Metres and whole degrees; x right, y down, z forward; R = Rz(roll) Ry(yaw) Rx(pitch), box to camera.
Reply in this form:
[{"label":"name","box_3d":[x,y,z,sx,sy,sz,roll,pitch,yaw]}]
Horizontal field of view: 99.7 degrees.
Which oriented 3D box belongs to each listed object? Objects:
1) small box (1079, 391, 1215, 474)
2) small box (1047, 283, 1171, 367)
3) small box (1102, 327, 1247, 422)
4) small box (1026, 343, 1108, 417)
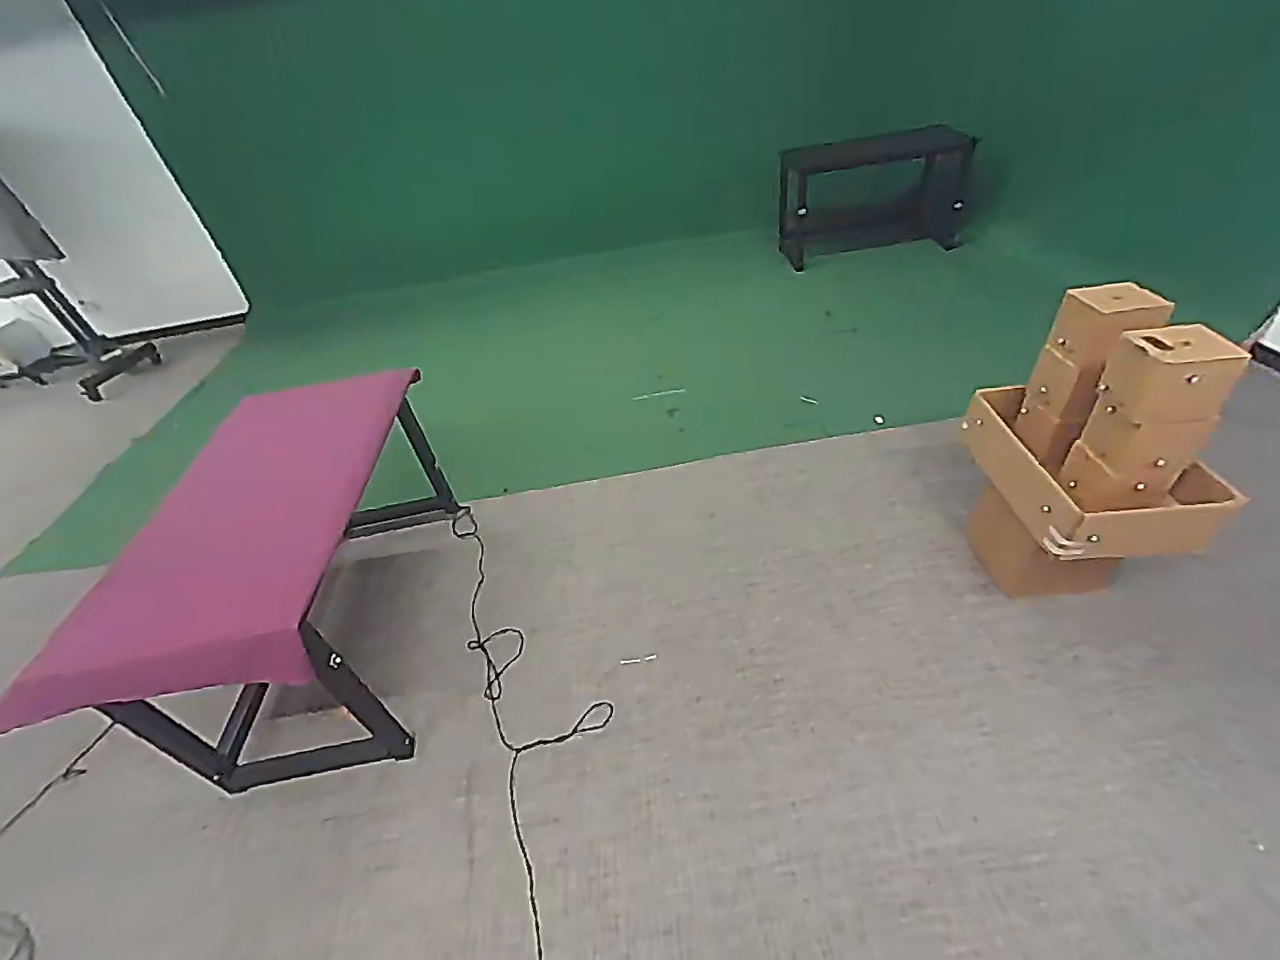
[{"label":"small box","box_3d":[1.326,-0.133,1.432,0.179,0.176,0.168,-4,41,6]},{"label":"small box","box_3d":[1.307,-0.435,1.522,0.179,0.176,0.168,-6,41,3]},{"label":"small box","box_3d":[1.286,-0.255,1.325,0.179,0.176,0.168,-4,42,8]},{"label":"small box","box_3d":[1.316,-0.309,1.626,0.179,0.176,0.168,-7,41,2]}]
